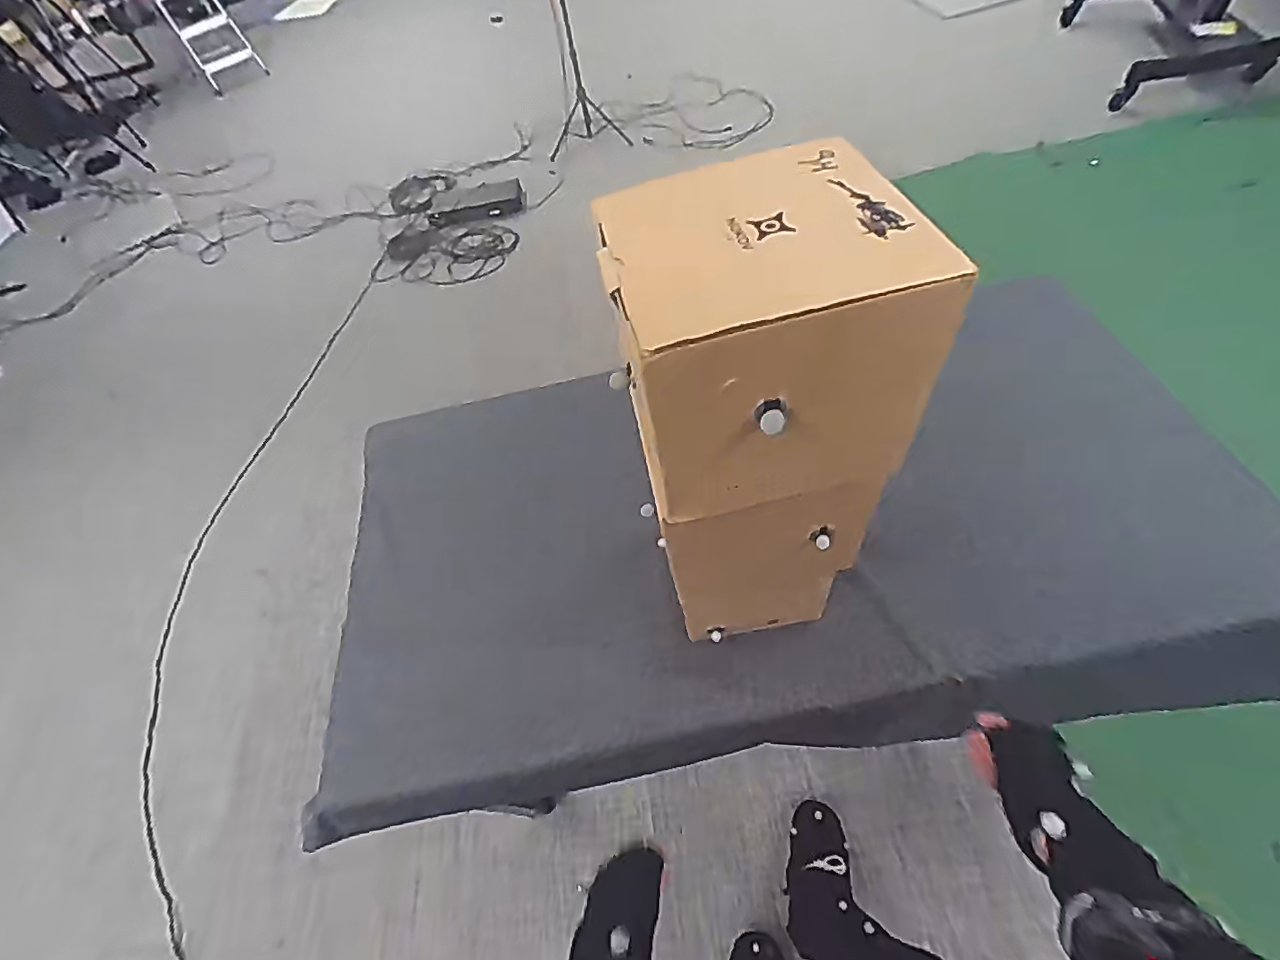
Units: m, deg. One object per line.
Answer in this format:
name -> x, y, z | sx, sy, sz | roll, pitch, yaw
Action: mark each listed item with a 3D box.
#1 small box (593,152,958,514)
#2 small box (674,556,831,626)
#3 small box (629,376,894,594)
small box -> 0.079, -0.097, 0.390 | 0.179, 0.176, 0.168 | -16, 53, -2
small box -> 0.119, 0.067, 0.665 | 0.168, 0.176, 0.179 | -11, 54, 2
small box -> 0.099, -0.015, 0.508 | 0.179, 0.176, 0.168 | -15, 55, -1
